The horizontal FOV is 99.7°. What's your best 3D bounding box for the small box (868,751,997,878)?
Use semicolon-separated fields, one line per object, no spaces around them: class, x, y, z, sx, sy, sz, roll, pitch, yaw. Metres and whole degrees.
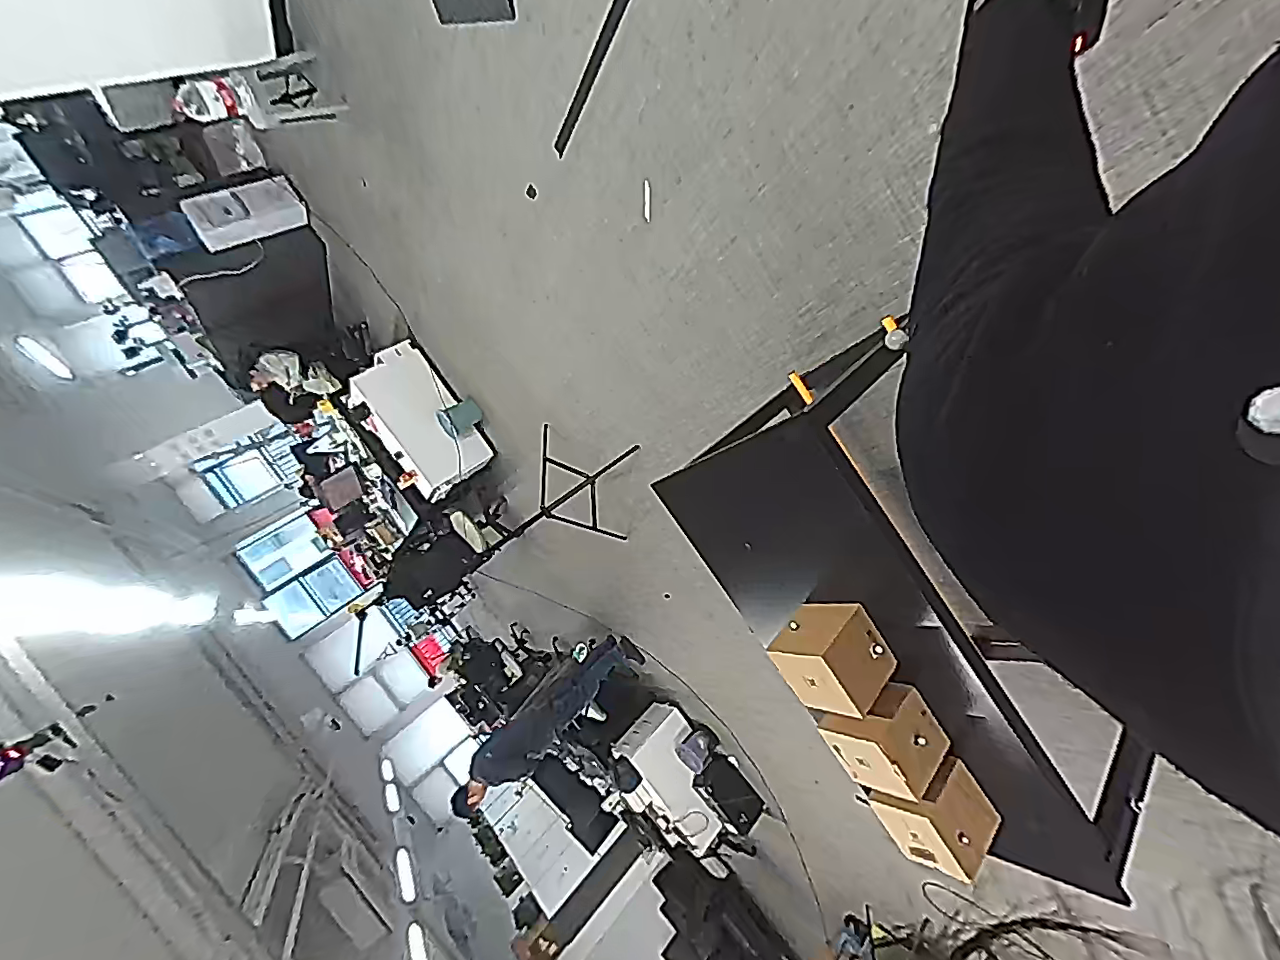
small box;0.674;0.747;1.243;0.179;0.176;0.168;55;150;-2

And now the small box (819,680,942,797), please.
small box;0.552;0.570;1.226;0.168;0.176;0.179;55;150;-6

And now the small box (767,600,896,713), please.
small box;0.427;0.383;1.206;0.168;0.176;0.179;55;150;-6
